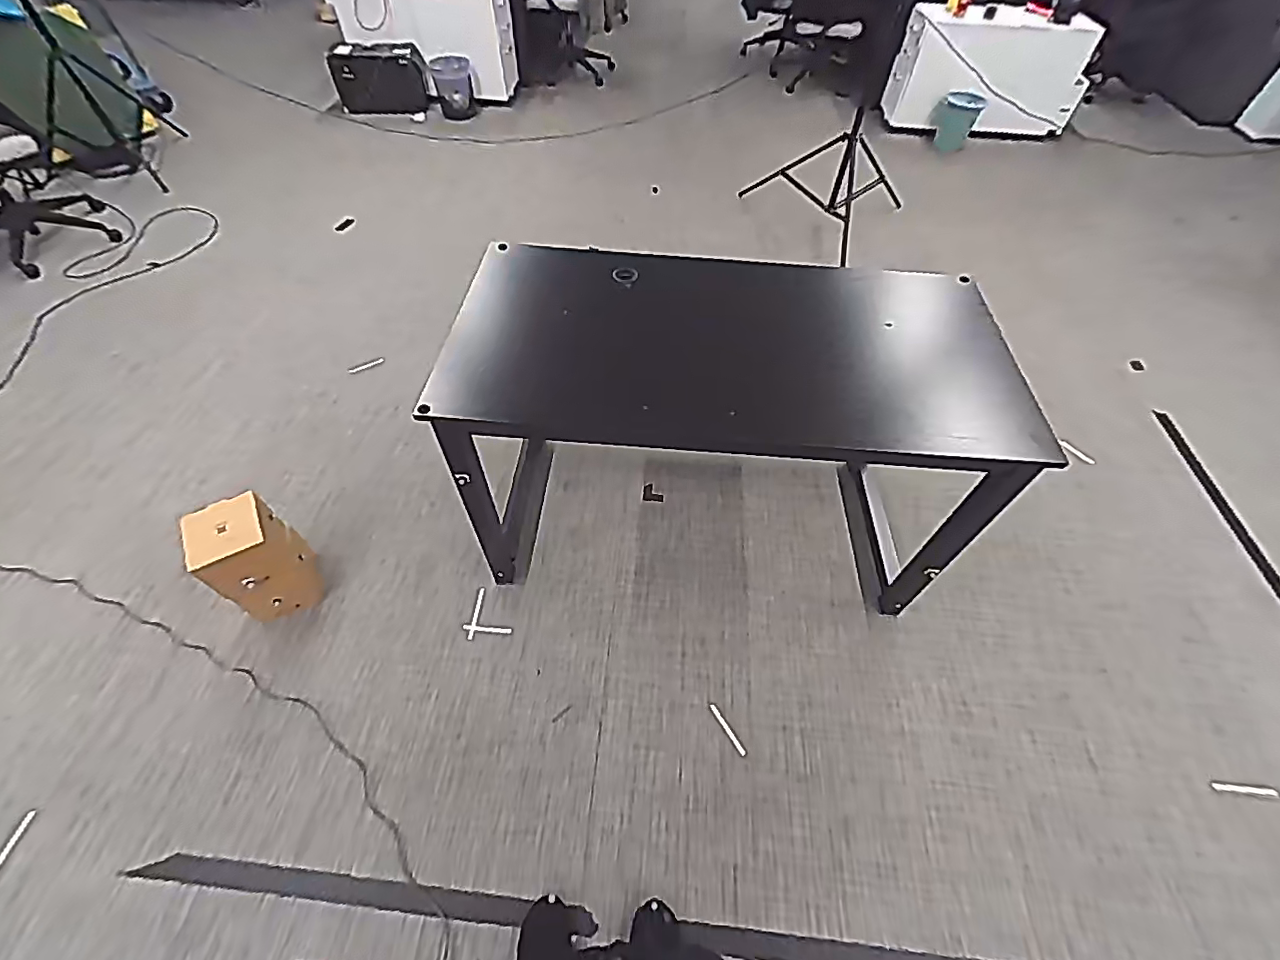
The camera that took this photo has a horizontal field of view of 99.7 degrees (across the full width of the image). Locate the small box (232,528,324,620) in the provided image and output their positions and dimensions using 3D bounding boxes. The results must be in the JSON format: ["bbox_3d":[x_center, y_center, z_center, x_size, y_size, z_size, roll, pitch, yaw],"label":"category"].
[{"bbox_3d":[-1.013,0.272,1.517,0.168,0.176,0.179,-21,56,-18],"label":"small box"}]

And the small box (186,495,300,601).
[{"bbox_3d":[-1.011,0.176,1.385,0.168,0.176,0.179,-27,59,-19],"label":"small box"}]
